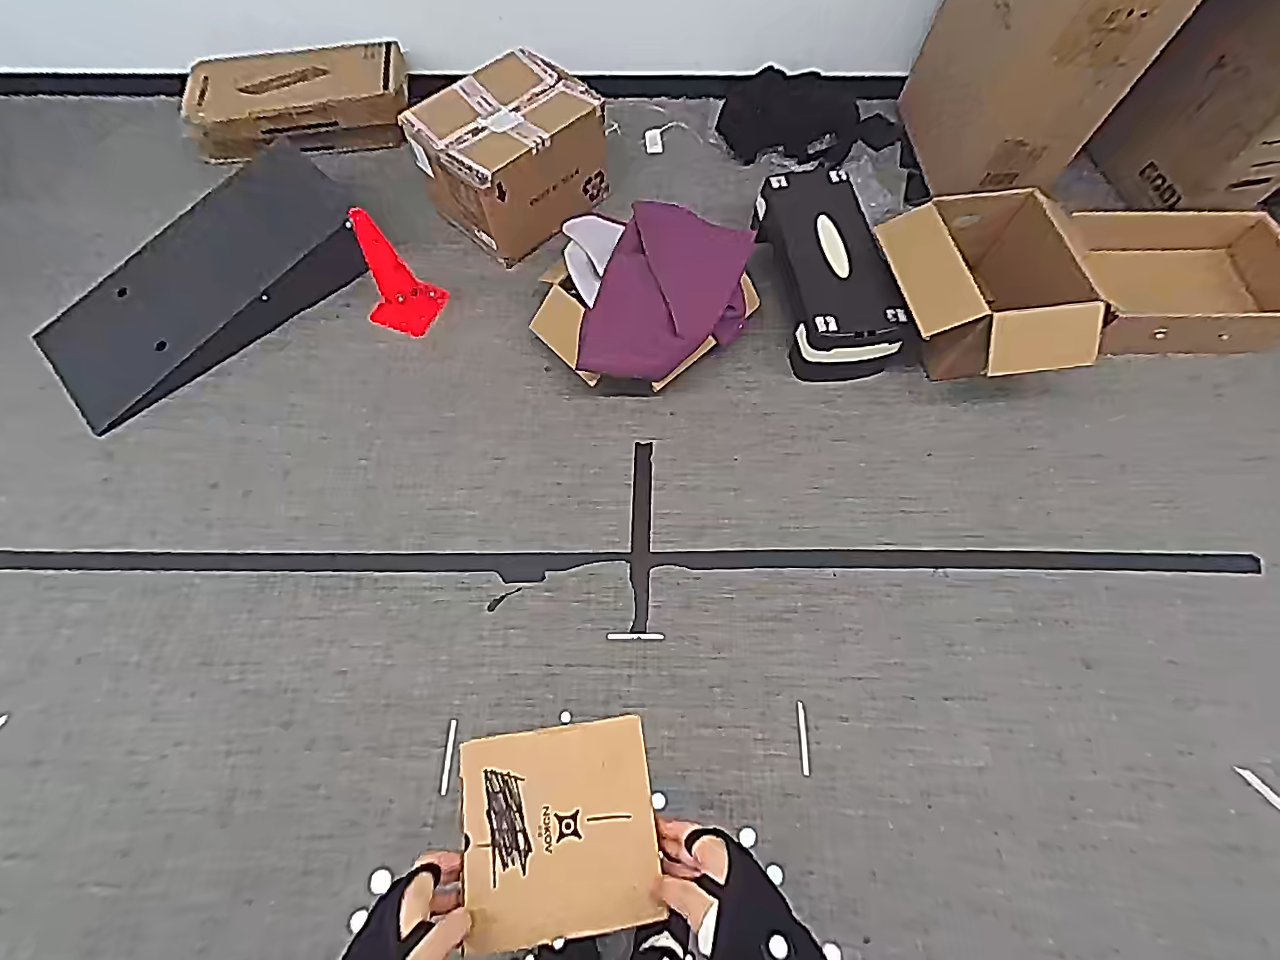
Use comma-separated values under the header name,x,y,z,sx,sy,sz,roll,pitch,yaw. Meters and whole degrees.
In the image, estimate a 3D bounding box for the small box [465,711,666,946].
name,x,y,z,sx,sy,sz,roll,pitch,yaw
small box,-0.074,0.345,0.566,0.179,0.176,0.168,-6,65,-6
